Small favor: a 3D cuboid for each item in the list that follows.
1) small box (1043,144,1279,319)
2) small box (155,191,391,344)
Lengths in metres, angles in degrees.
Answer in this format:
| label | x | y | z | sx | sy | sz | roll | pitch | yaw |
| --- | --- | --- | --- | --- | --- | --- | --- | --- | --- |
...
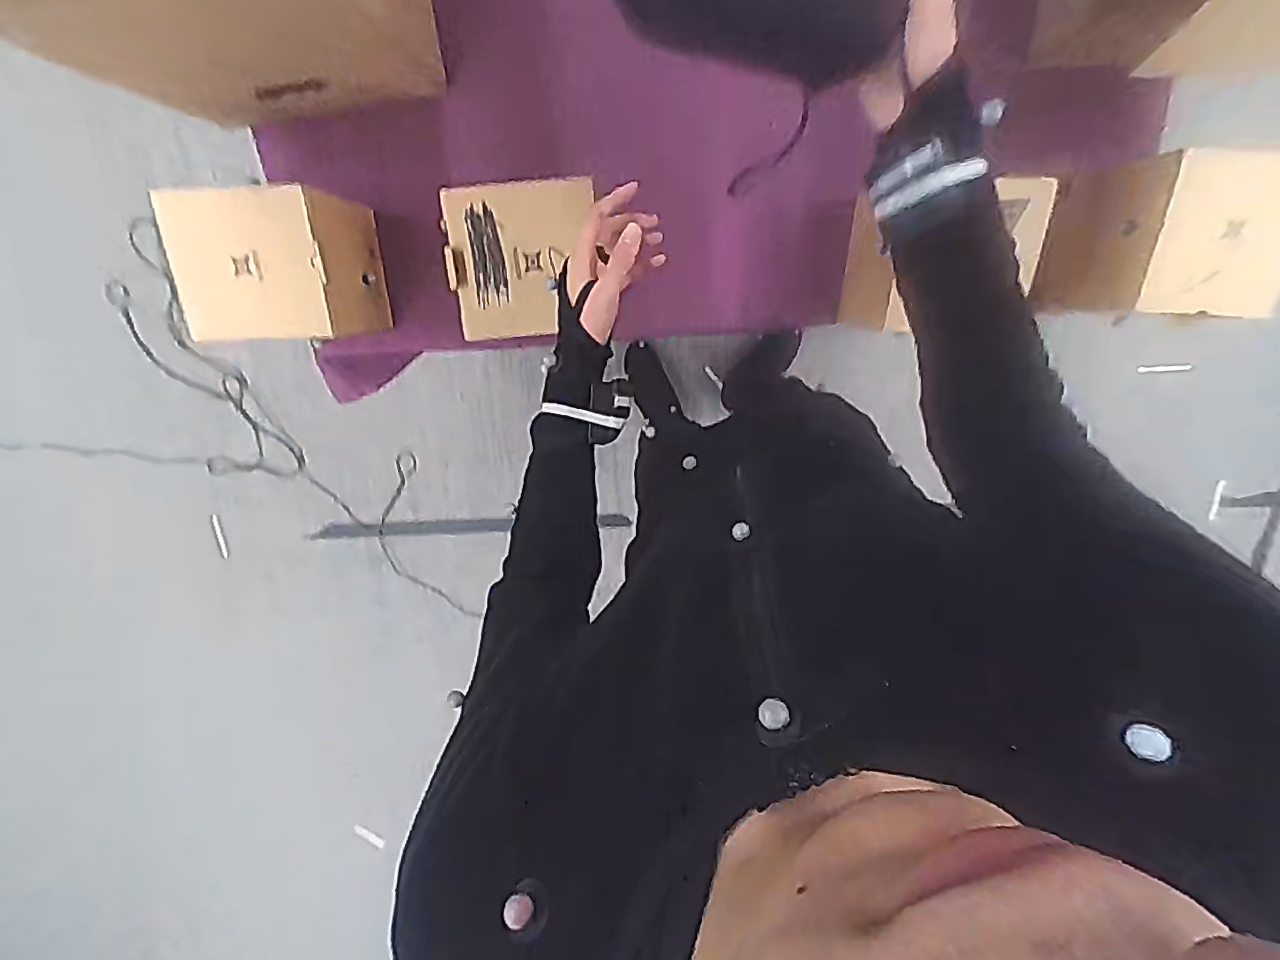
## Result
| label | x | y | z | sx | sy | sz | roll | pitch | yaw |
| --- | --- | --- | --- | --- | --- | --- | --- | --- | --- |
| small box | 0.666 | -0.303 | 0.693 | 0.168 | 0.176 | 0.179 | 3 | 107 | 0 |
| small box | -0.459 | -0.268 | 0.708 | 0.179 | 0.176 | 0.168 | -3 | 108 | 0 |
